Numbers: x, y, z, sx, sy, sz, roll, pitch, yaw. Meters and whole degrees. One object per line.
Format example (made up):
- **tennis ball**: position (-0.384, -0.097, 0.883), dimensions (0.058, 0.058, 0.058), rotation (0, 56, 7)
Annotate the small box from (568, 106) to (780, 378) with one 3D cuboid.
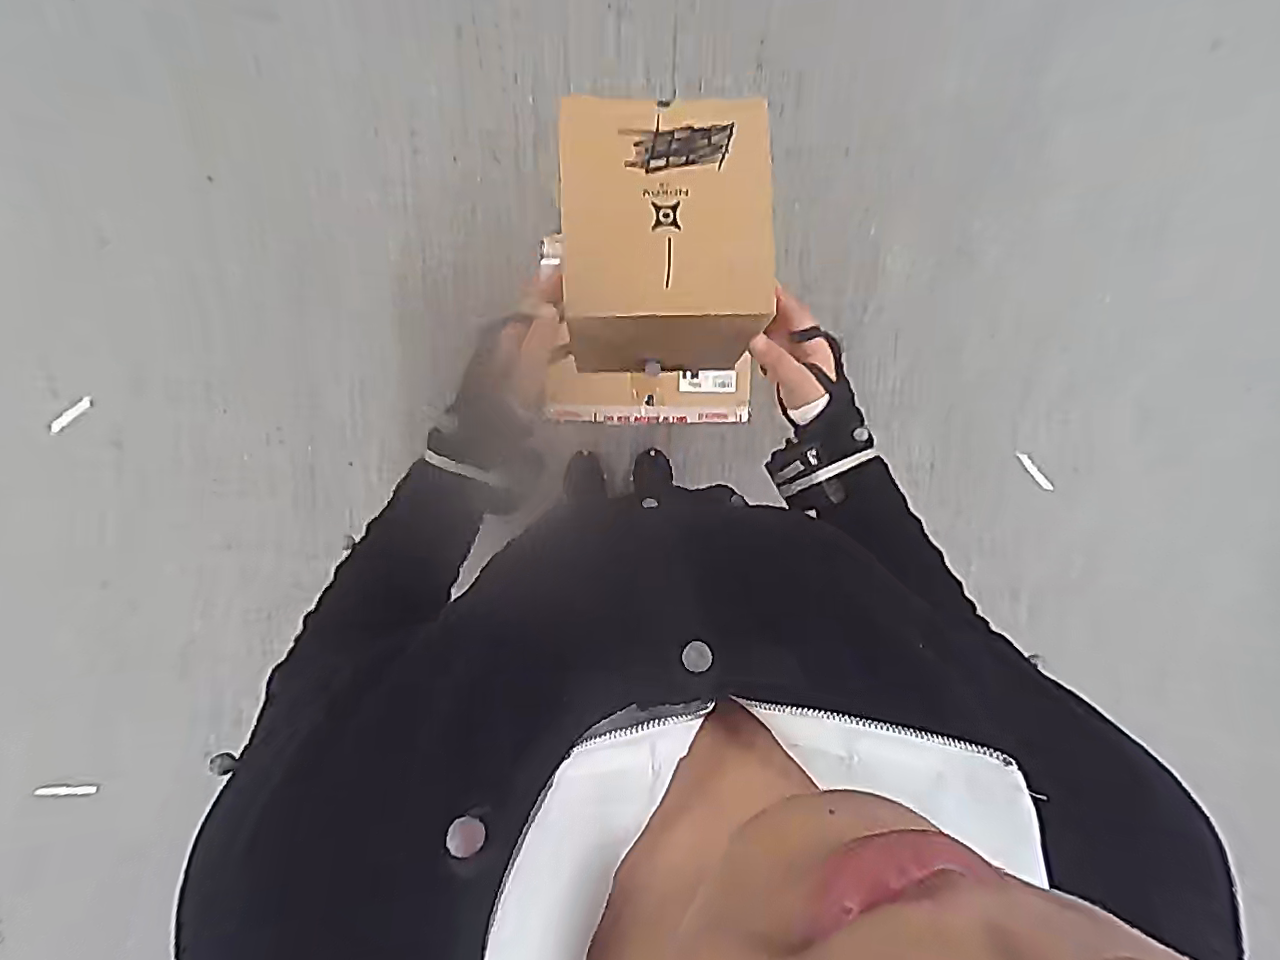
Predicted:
- **small box**: position (0.022, -0.203, 0.502), dimensions (0.168, 0.176, 0.179), rotation (-2, 85, -2)
